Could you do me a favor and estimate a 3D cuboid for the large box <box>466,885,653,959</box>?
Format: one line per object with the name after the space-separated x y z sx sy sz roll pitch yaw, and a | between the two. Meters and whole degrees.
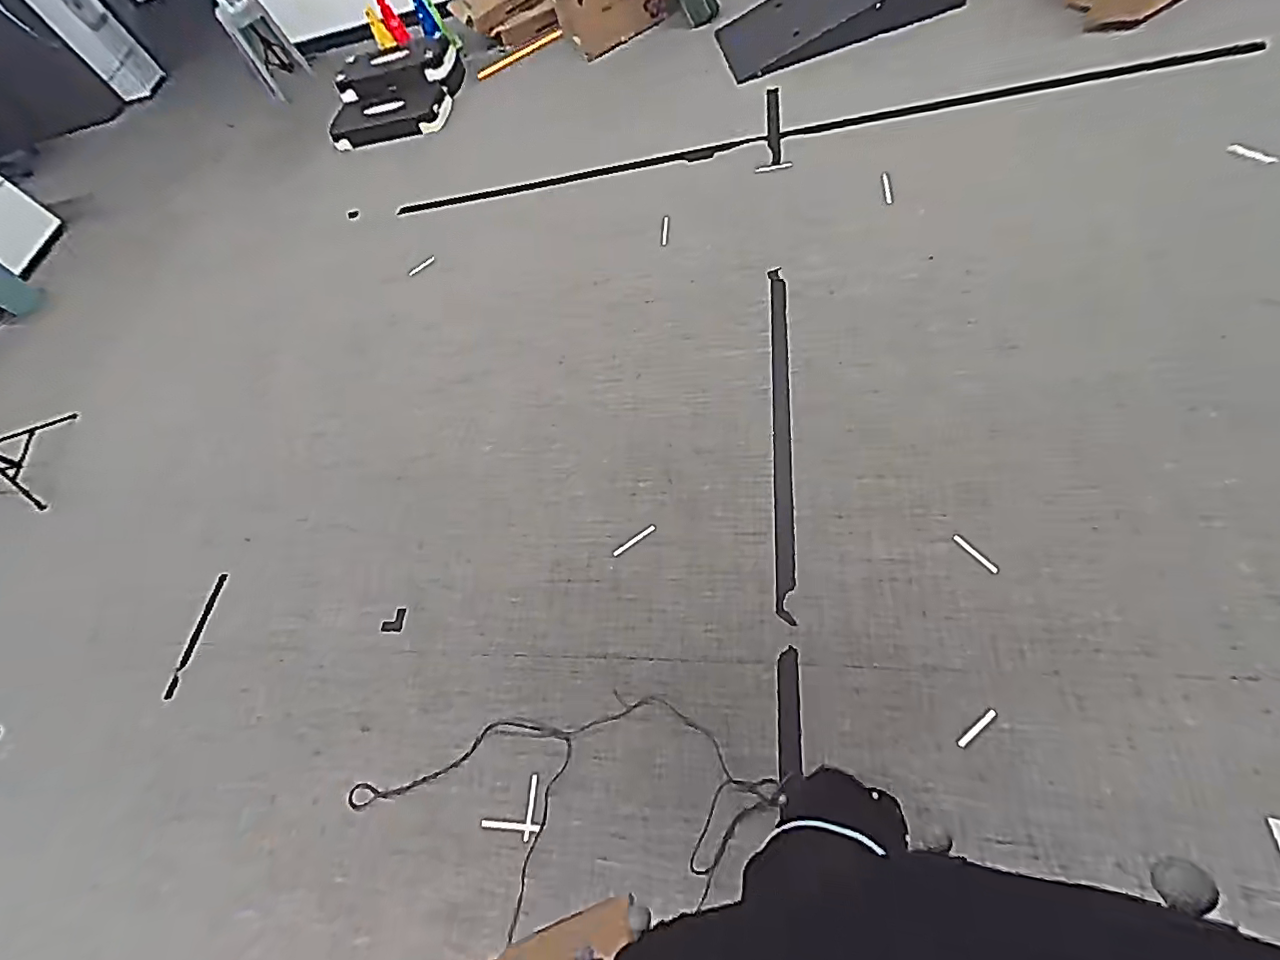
-0.079 0.616 0.391 0.320 0.320 0.408 -19 65 -11 | large box
